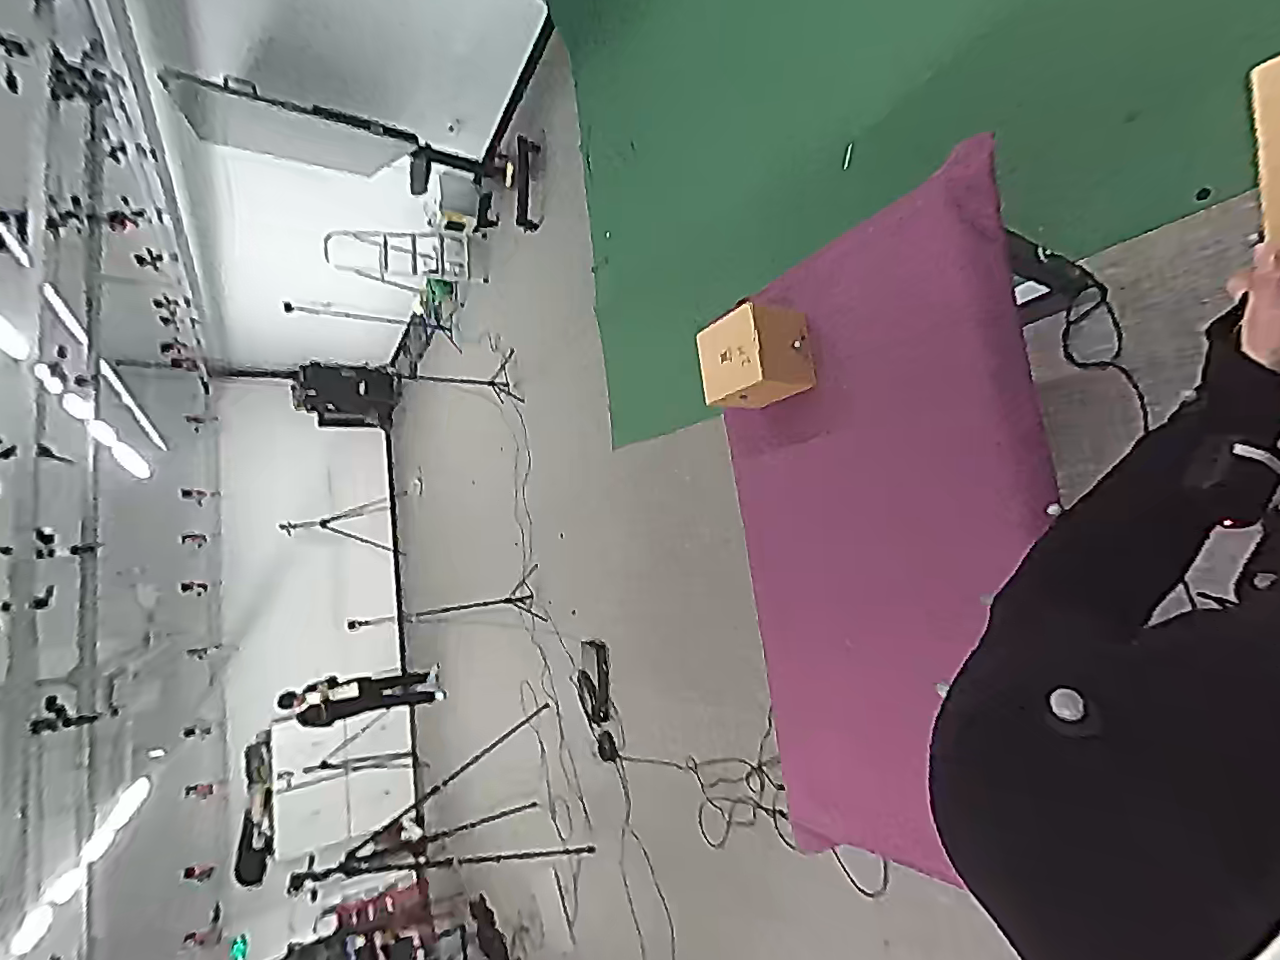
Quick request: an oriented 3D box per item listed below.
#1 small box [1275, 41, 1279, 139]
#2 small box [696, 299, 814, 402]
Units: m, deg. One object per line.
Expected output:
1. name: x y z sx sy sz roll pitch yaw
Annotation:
1. small box: 0.630 -0.274 0.419 0.168 0.176 0.179 -5 87 55
2. small box: 0.250 -0.272 1.184 0.179 0.176 0.168 -17 79 55
